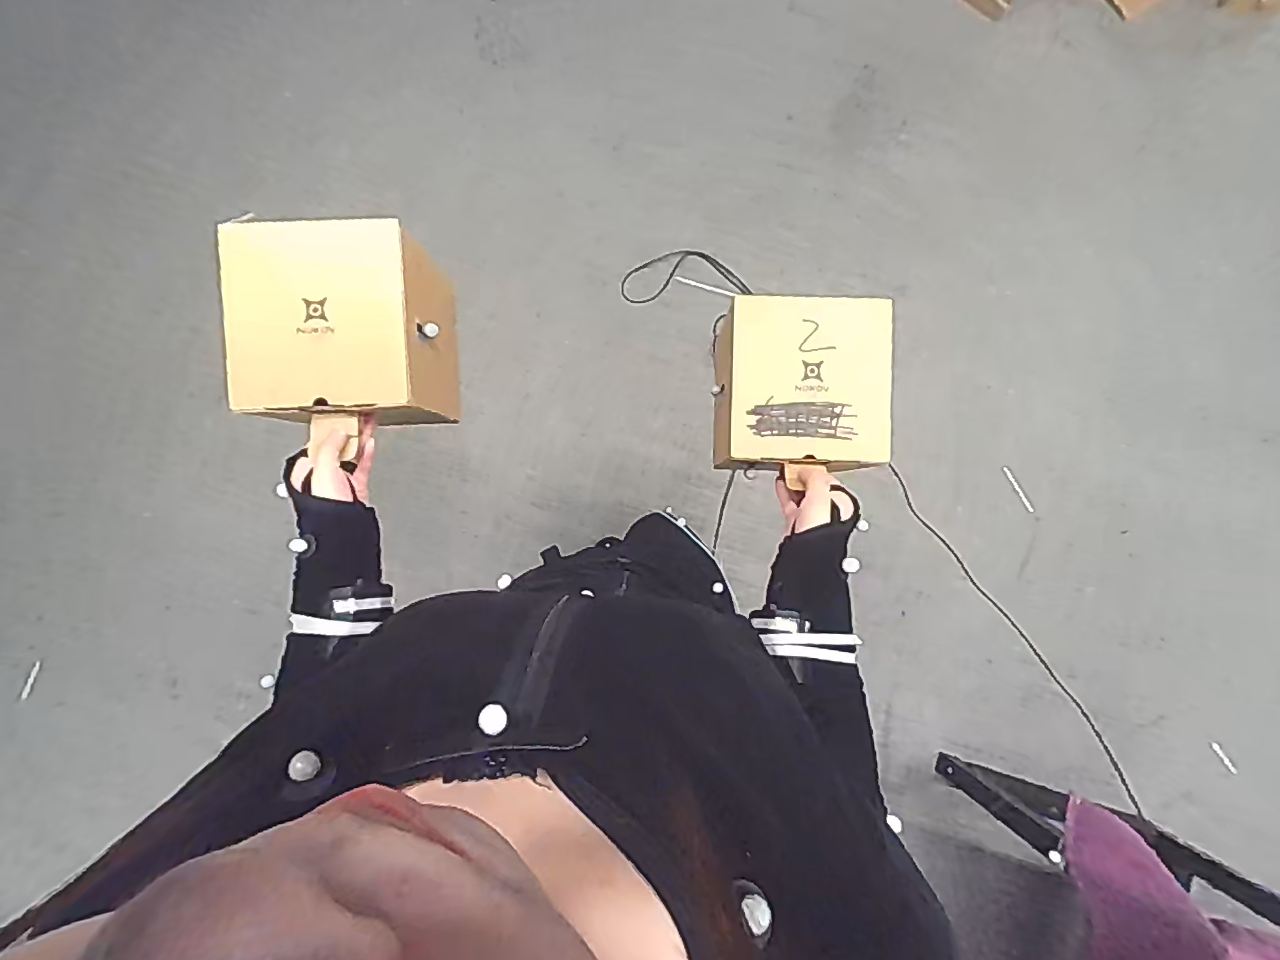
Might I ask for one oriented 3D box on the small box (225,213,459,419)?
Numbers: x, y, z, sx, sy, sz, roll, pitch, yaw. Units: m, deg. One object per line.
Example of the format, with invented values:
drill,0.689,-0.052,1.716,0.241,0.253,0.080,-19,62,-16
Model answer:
small box,-0.300,-0.160,0.579,0.168,0.176,0.179,-2,93,-3
